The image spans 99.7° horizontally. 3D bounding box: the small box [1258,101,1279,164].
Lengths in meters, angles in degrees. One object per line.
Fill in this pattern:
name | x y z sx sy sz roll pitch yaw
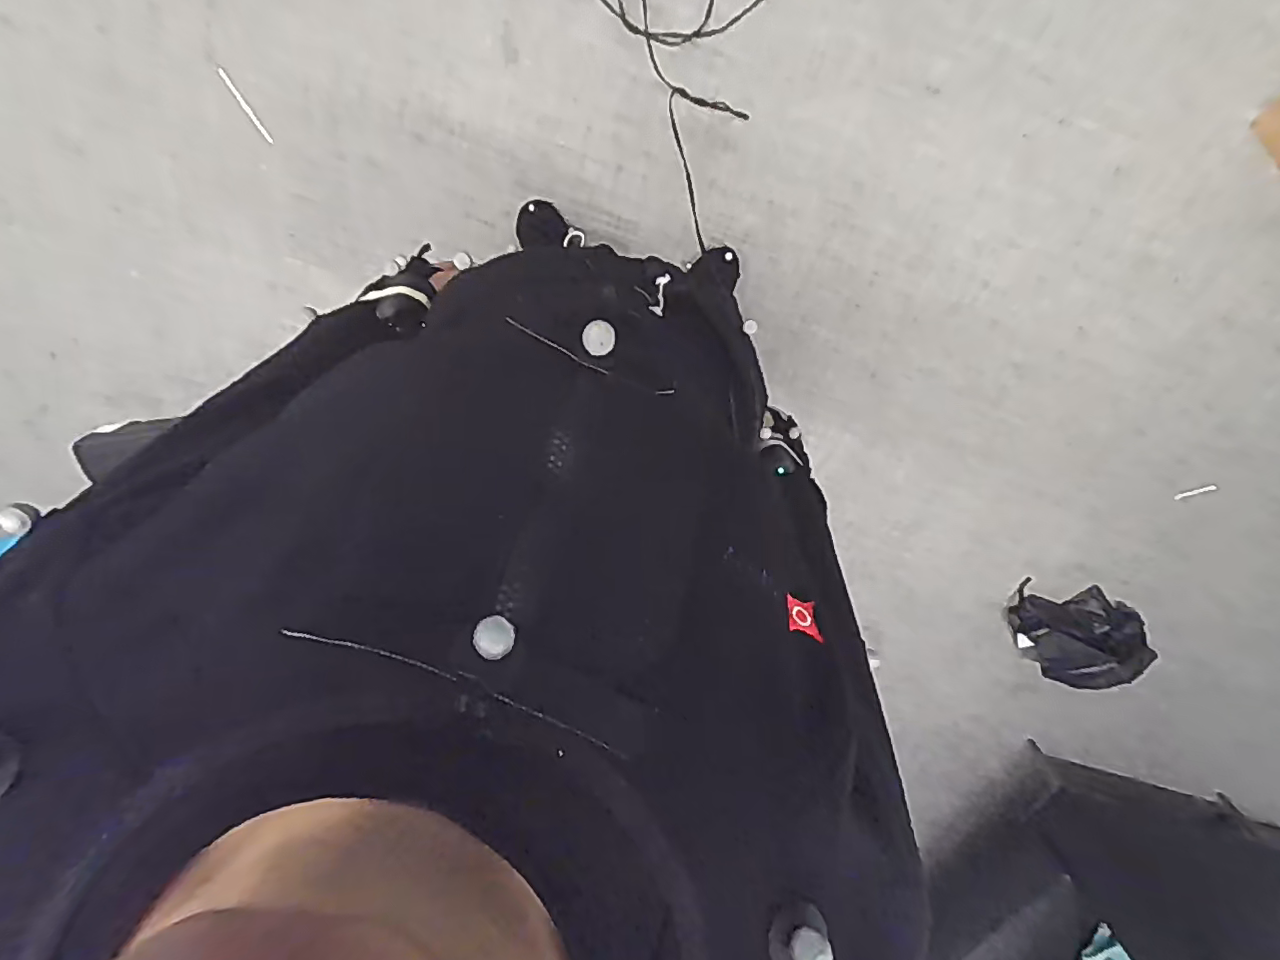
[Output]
small box | 1.299 -0.655 0.964 0.179 0.176 0.168 35 114 -15
